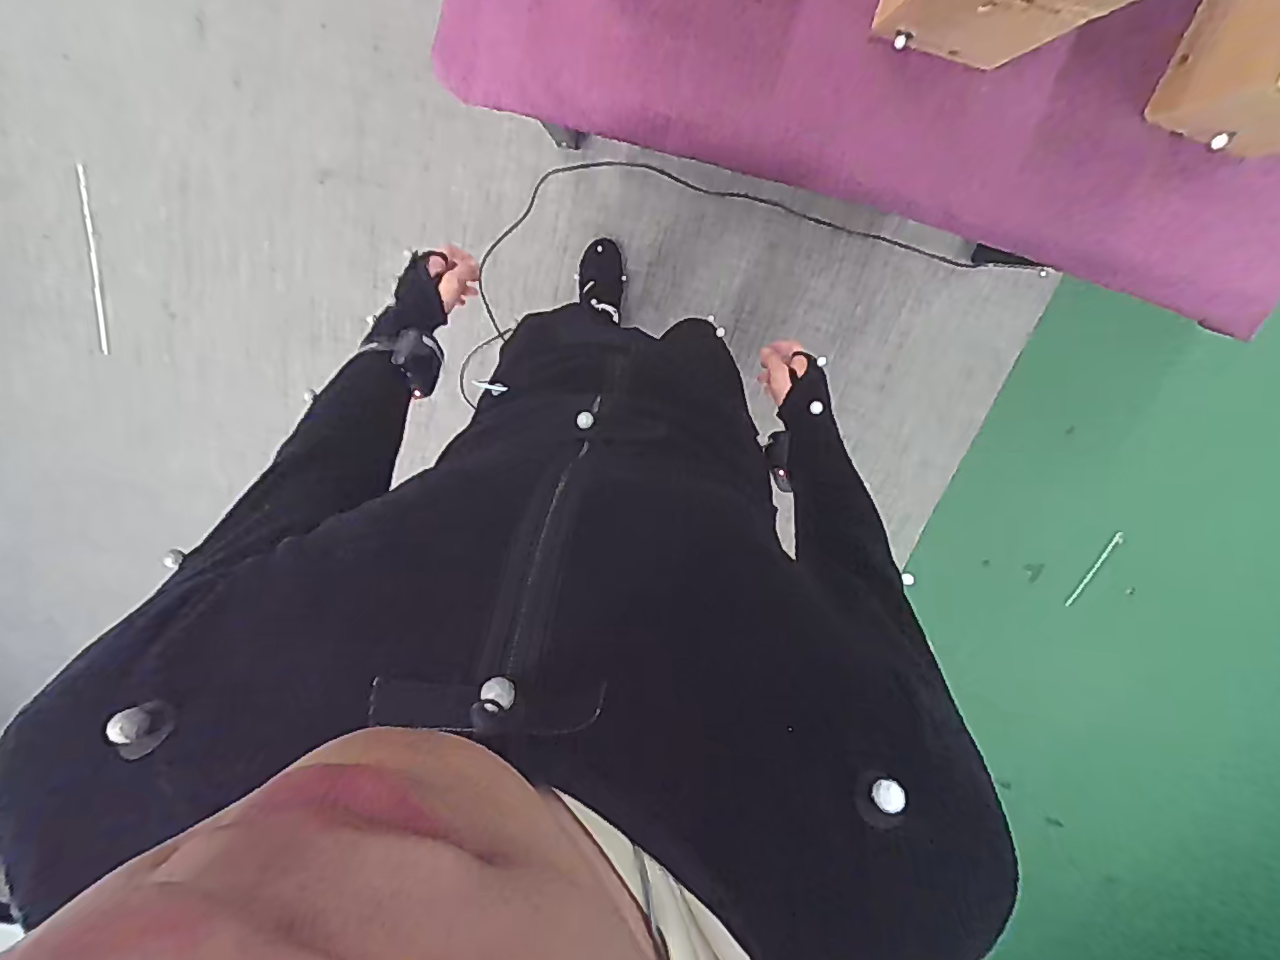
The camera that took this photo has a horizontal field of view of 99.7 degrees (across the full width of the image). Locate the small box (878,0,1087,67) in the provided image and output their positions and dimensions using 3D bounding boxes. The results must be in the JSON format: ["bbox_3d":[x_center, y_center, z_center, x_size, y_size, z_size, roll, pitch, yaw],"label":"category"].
[{"bbox_3d":[0.383,-0.580,0.574,0.168,0.176,0.179,11,112,-7],"label":"small box"}]

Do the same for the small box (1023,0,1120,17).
[{"bbox_3d":[0.387,-0.512,0.426,0.179,0.176,0.168,11,114,-8],"label":"small box"}]

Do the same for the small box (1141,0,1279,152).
[{"bbox_3d":[0.761,-0.498,0.623,0.179,0.176,0.168,13,112,-8],"label":"small box"}]
